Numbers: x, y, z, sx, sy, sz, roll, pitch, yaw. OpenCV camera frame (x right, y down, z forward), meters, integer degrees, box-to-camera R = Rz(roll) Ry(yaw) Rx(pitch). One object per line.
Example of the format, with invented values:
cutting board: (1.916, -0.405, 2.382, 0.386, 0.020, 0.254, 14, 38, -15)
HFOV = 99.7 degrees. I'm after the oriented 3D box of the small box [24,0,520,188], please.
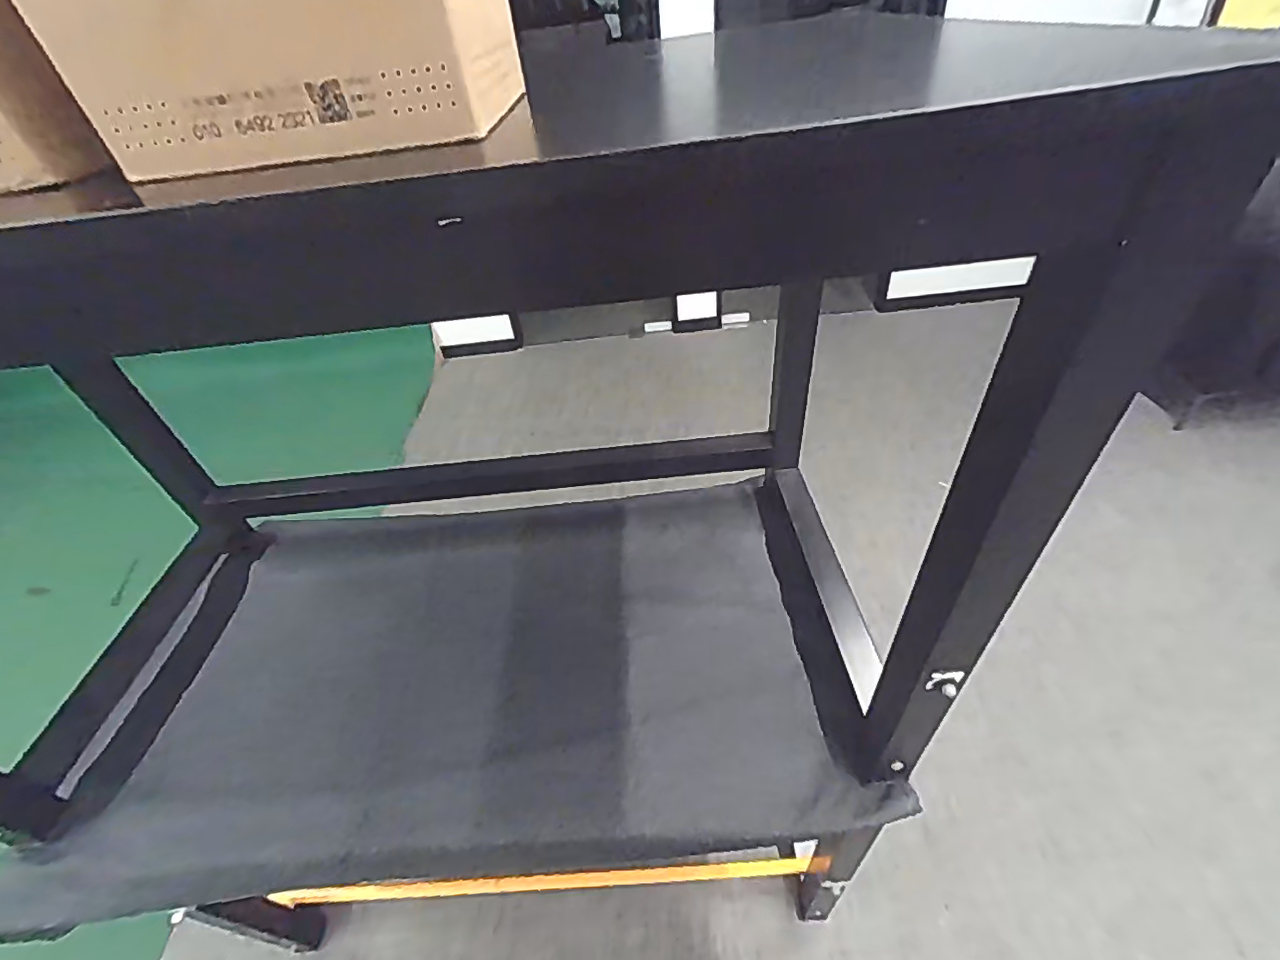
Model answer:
small box: (-0.164, -0.252, 0.261, 0.168, 0.176, 0.179, -6, 41, 2)
